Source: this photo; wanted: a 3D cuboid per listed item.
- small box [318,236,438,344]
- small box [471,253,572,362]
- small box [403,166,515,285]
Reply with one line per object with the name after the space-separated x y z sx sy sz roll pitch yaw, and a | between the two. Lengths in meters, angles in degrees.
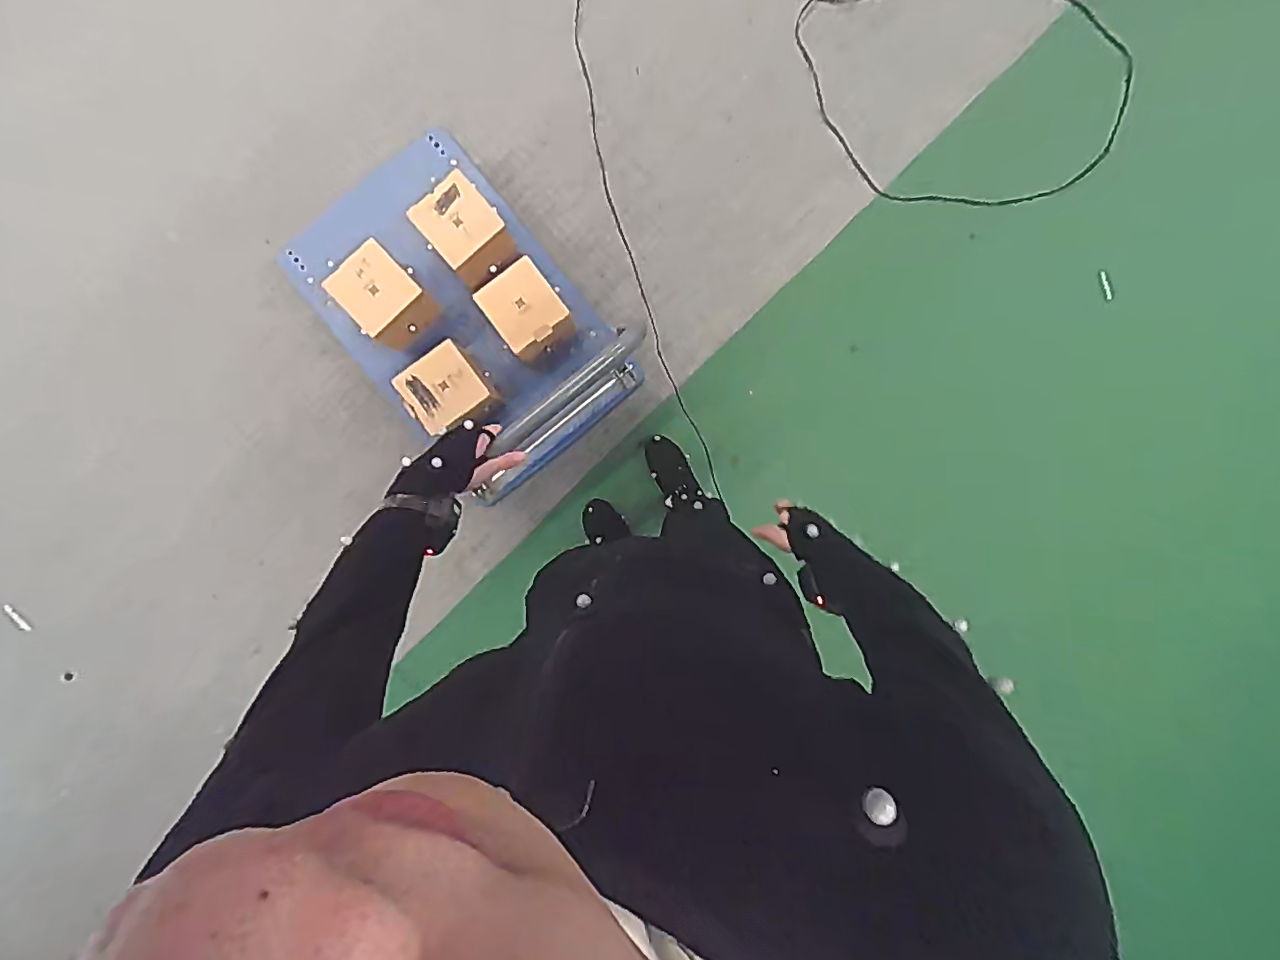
-0.635 -0.456 1.338 0.168 0.176 0.179 -43 93 0 | small box
-0.287 -0.420 1.351 0.168 0.176 0.179 -37 93 0 | small box
-0.438 -0.618 1.337 0.168 0.176 0.179 -41 94 1 | small box
